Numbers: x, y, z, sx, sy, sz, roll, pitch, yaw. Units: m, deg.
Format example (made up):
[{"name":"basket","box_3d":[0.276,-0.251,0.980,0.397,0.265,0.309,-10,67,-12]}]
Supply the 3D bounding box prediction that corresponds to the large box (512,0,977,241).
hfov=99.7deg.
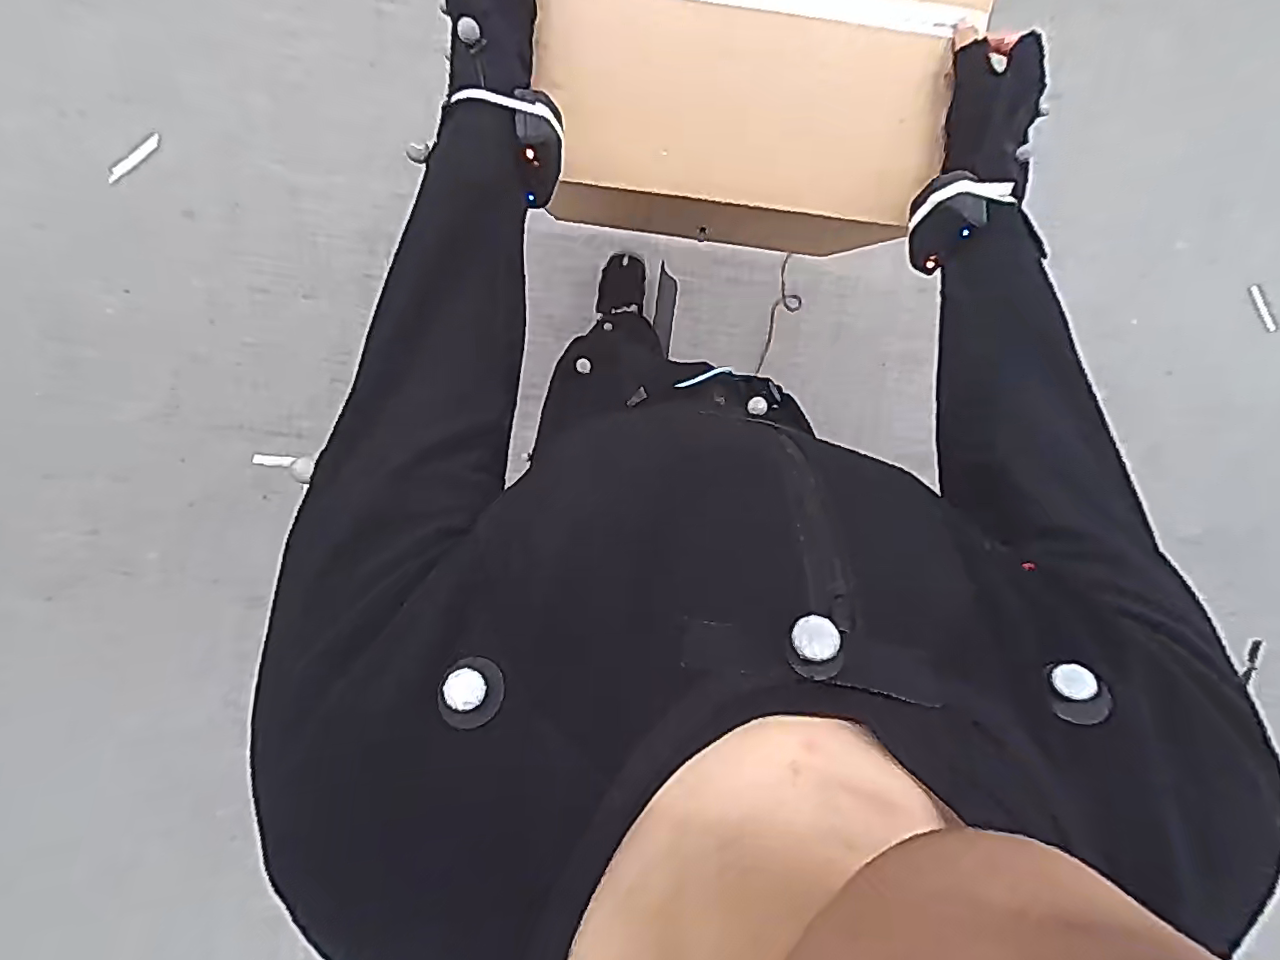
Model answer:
[{"name":"large box","box_3d":[0.094,-0.467,0.608,0.408,0.320,0.320,7,107,-2]}]
